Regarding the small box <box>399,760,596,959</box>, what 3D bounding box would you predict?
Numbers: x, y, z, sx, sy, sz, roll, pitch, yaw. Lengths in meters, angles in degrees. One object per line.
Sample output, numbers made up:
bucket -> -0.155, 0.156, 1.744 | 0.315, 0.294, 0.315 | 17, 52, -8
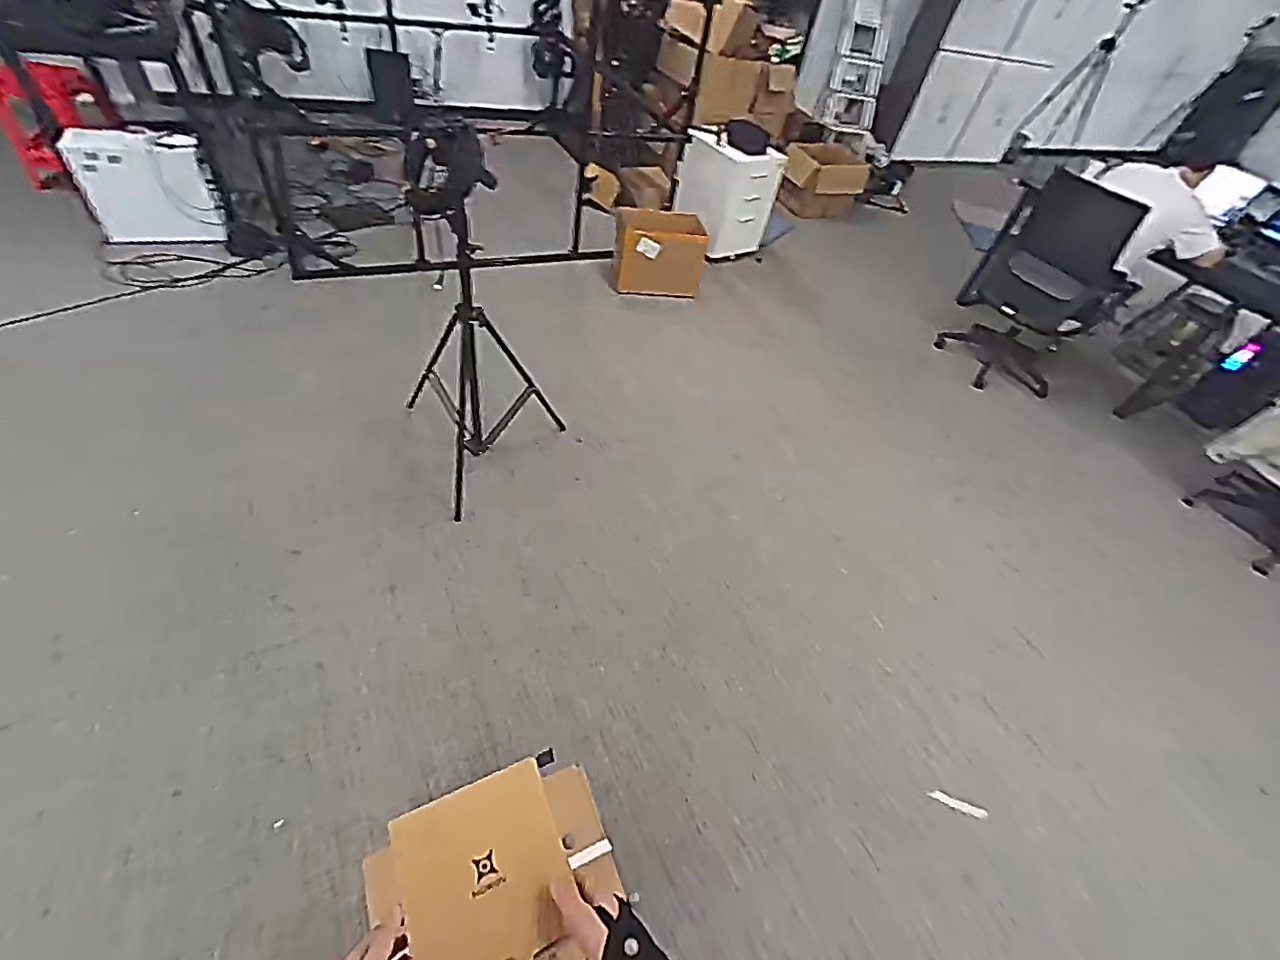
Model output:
small box -> -0.168, 0.466, 0.626 | 0.168, 0.176, 0.179 | -15, 55, -24
